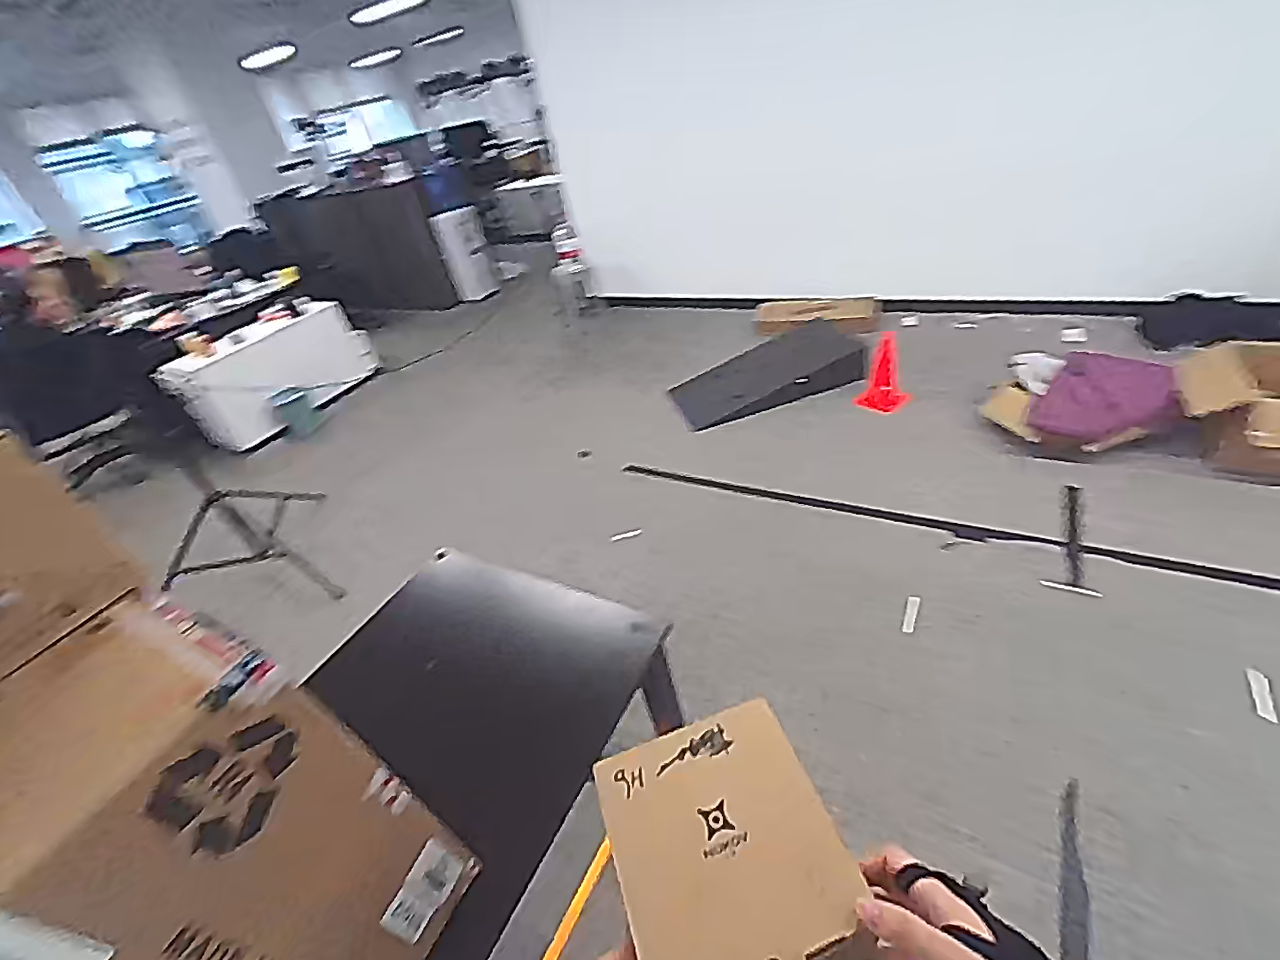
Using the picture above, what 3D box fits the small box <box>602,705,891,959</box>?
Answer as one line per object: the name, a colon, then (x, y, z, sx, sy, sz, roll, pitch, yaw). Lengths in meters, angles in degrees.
small box: (0.081, 0.335, 0.459, 0.168, 0.176, 0.179, -18, 38, -8)
